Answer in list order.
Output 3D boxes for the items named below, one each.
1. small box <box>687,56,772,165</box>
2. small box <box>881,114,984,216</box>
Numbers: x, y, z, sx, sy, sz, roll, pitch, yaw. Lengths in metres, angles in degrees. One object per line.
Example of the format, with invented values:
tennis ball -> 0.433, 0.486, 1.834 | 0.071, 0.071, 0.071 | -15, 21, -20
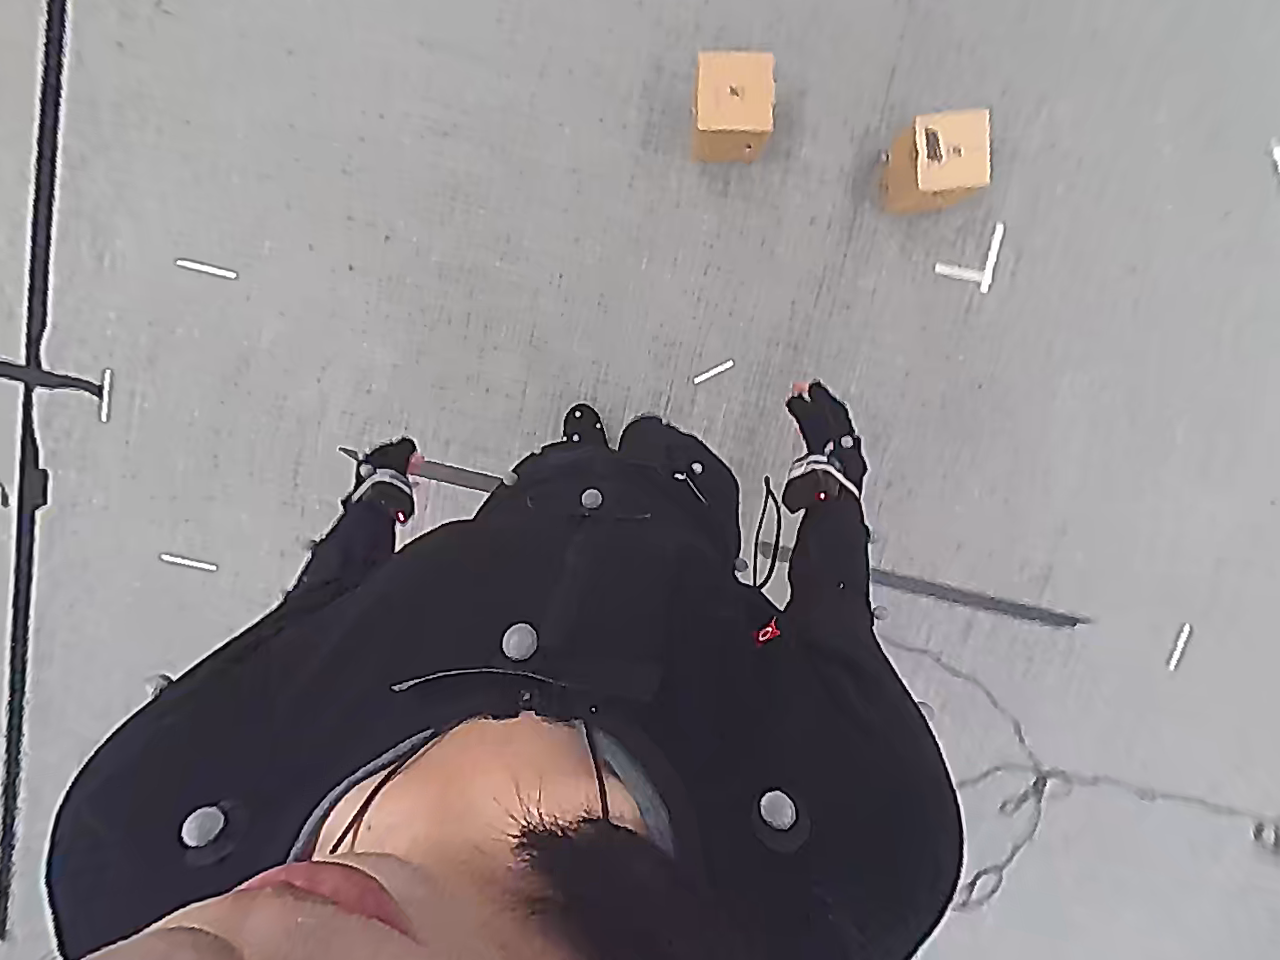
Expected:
small box -> 0.212, -0.889, 1.316 | 0.179, 0.176, 0.168 | 0, 97, 0
small box -> 0.716, -0.772, 1.341 | 0.179, 0.176, 0.168 | -6, 98, -1
